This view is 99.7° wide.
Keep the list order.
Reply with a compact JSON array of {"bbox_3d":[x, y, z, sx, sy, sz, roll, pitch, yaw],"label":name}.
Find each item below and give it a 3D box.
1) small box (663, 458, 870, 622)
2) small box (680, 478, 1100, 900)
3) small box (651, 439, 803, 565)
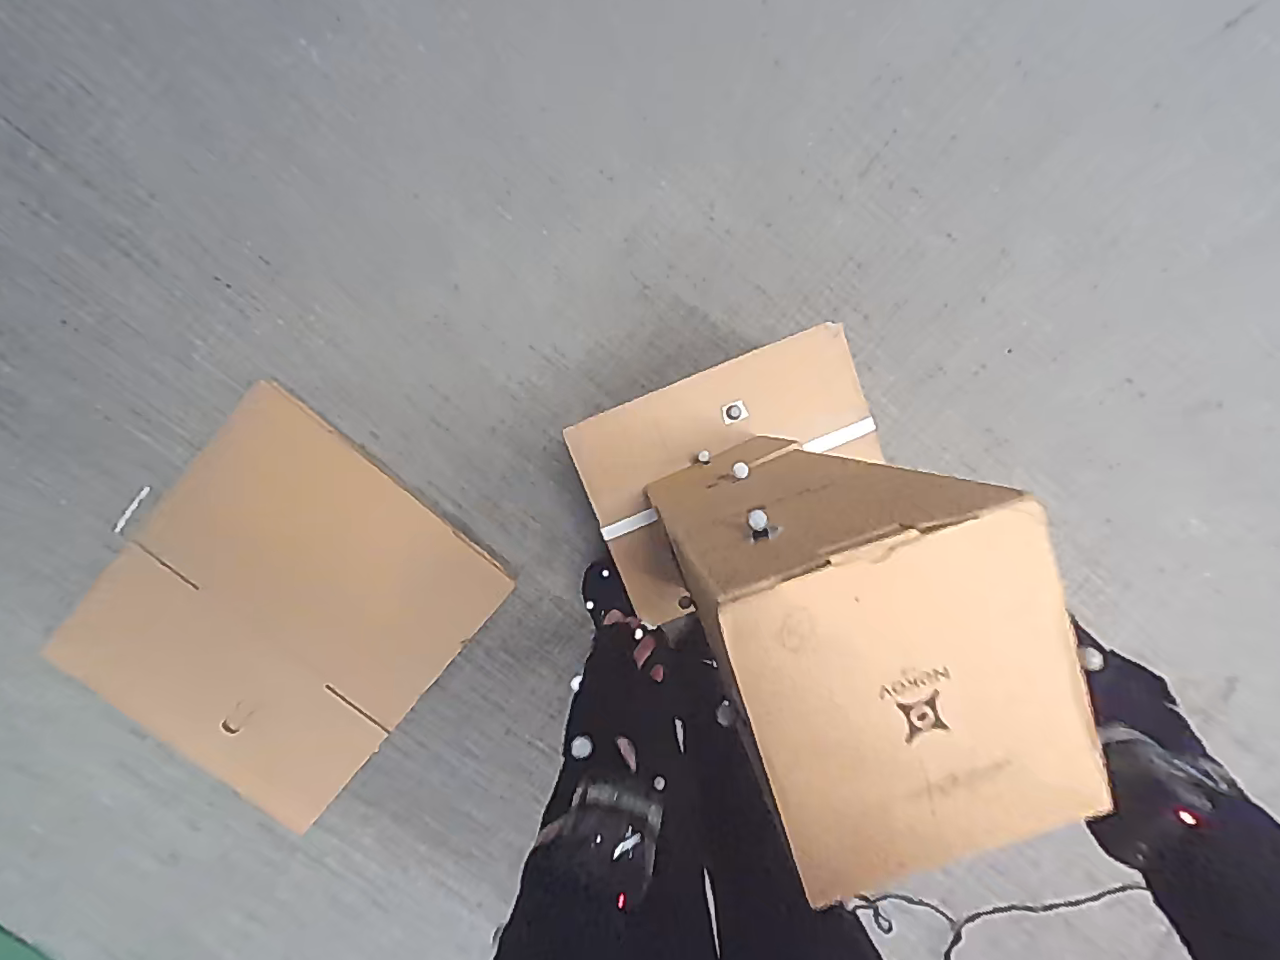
[{"bbox_3d":[0.129,0.089,0.512,0.168,0.176,0.179,-21,96,0],"label":"small box"},{"bbox_3d":[0.132,0.103,0.350,0.168,0.176,0.179,-18,97,0],"label":"small box"},{"bbox_3d":[0.125,0.060,0.676,0.179,0.176,0.168,-27,95,0],"label":"small box"}]
